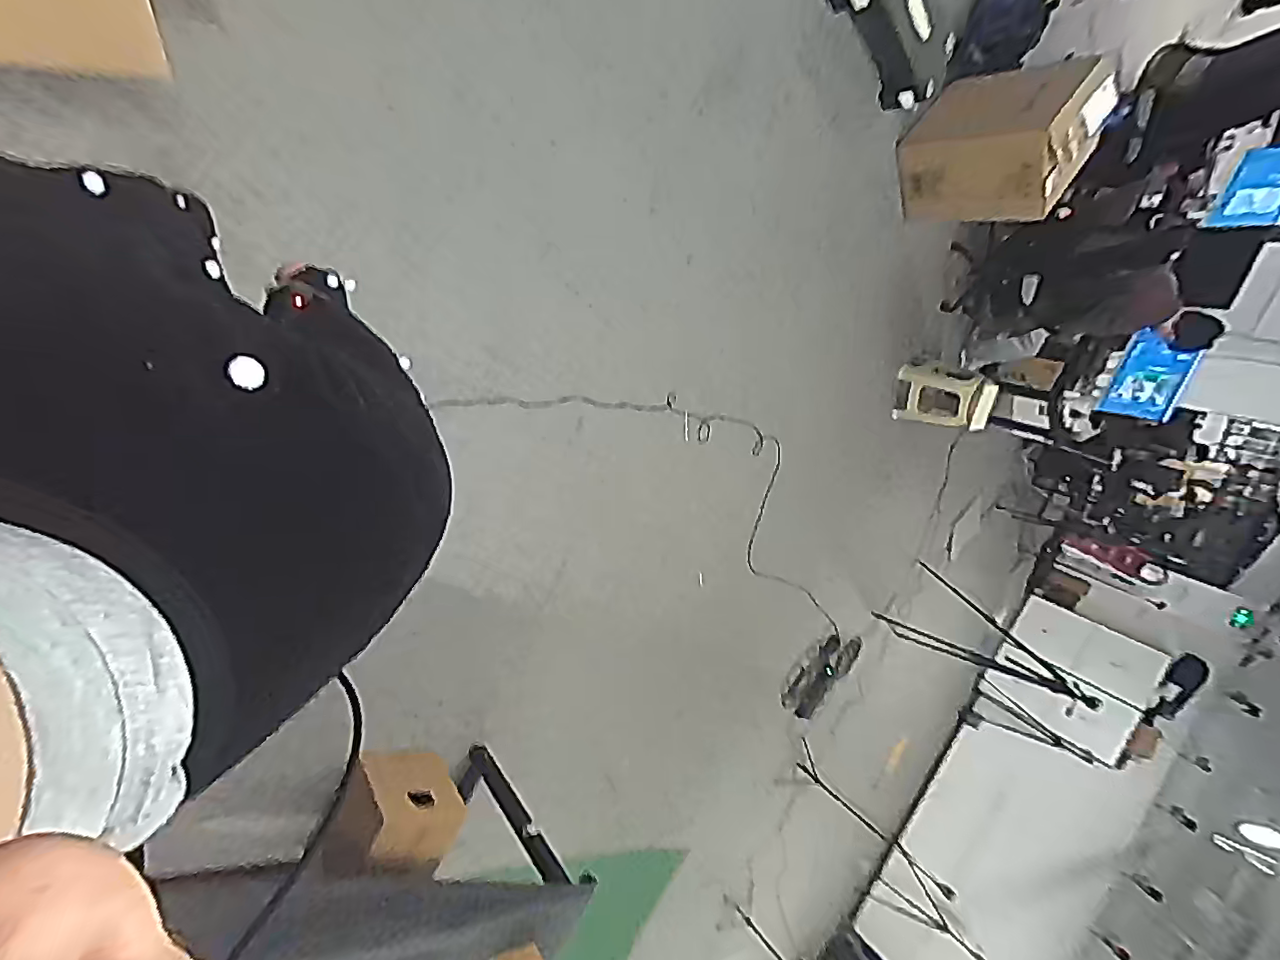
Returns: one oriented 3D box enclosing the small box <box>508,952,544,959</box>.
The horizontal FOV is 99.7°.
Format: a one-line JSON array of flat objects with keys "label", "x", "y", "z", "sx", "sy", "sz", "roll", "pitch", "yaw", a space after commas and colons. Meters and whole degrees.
[{"label": "small box", "x": -0.338, "y": 1.453, "z": 1.484, "sx": 0.168, "sy": 0.176, "sz": 0.179, "roll": 22, "pitch": 96, "yaw": -44}]
